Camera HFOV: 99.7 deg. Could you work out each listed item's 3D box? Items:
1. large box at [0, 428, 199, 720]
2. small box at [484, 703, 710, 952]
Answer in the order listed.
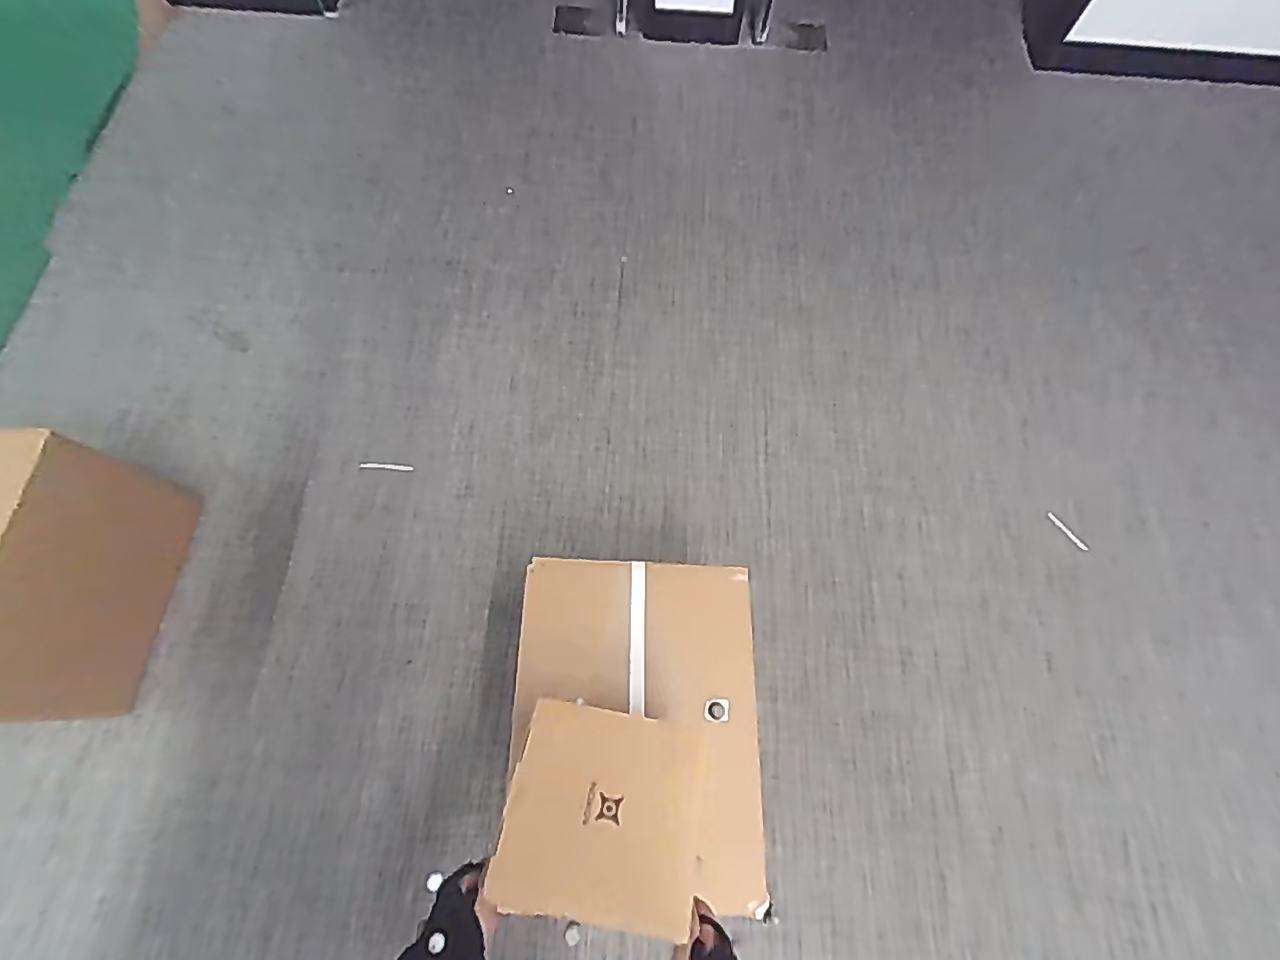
[{"bbox_3d":[-1.017,0.162,0.857,0.320,0.320,0.408,2,68,-1],"label":"large box"},{"bbox_3d":[-0.034,0.346,0.550,0.179,0.176,0.168,9,54,4],"label":"small box"}]
